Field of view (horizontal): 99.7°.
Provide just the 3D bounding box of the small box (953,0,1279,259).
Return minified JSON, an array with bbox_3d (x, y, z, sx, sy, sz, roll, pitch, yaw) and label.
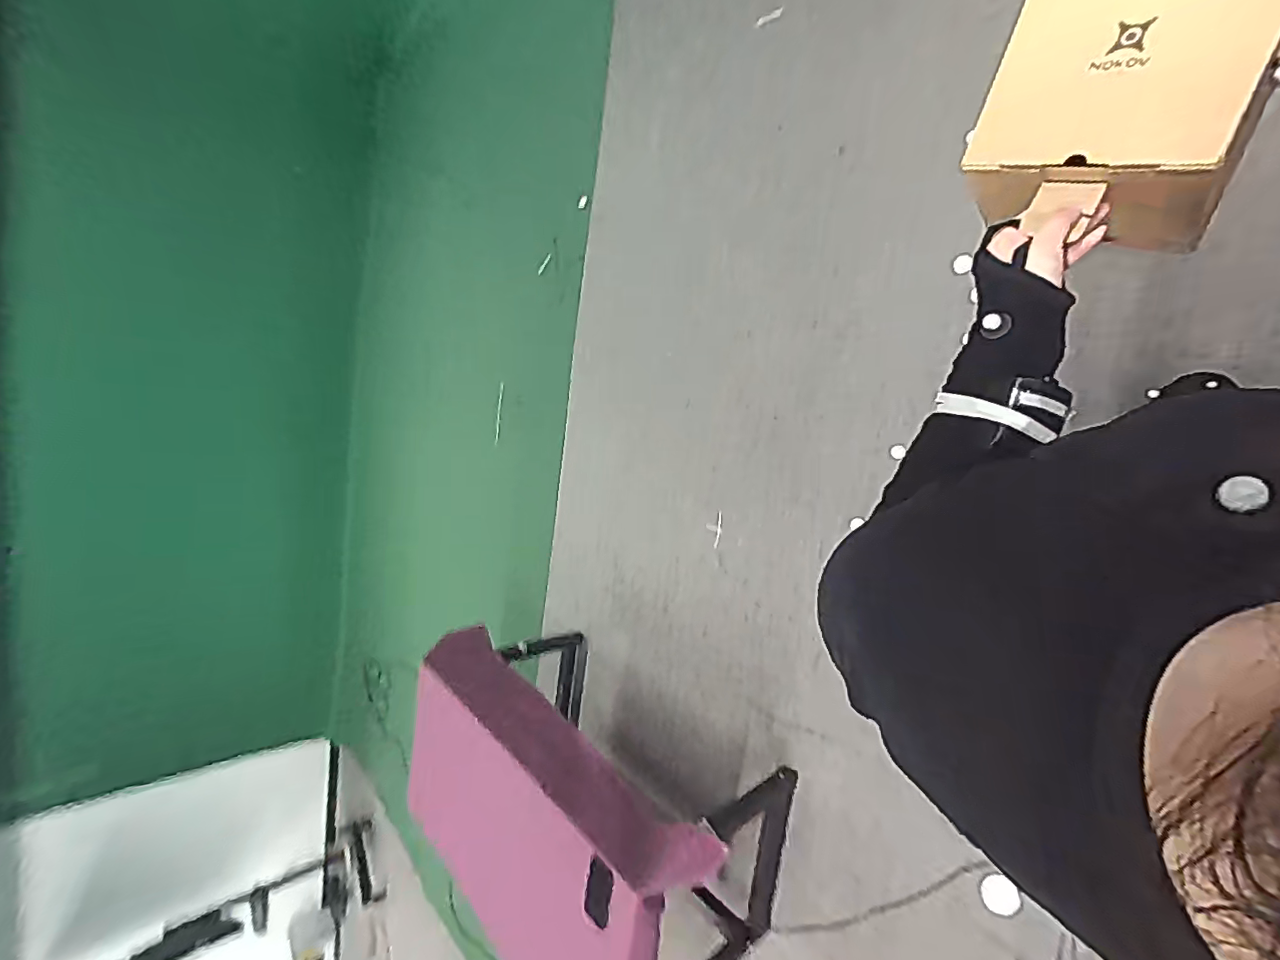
[{"bbox_3d":[0.404,-0.315,0.468,0.168,0.176,0.179,26,106,37],"label":"small box"}]
